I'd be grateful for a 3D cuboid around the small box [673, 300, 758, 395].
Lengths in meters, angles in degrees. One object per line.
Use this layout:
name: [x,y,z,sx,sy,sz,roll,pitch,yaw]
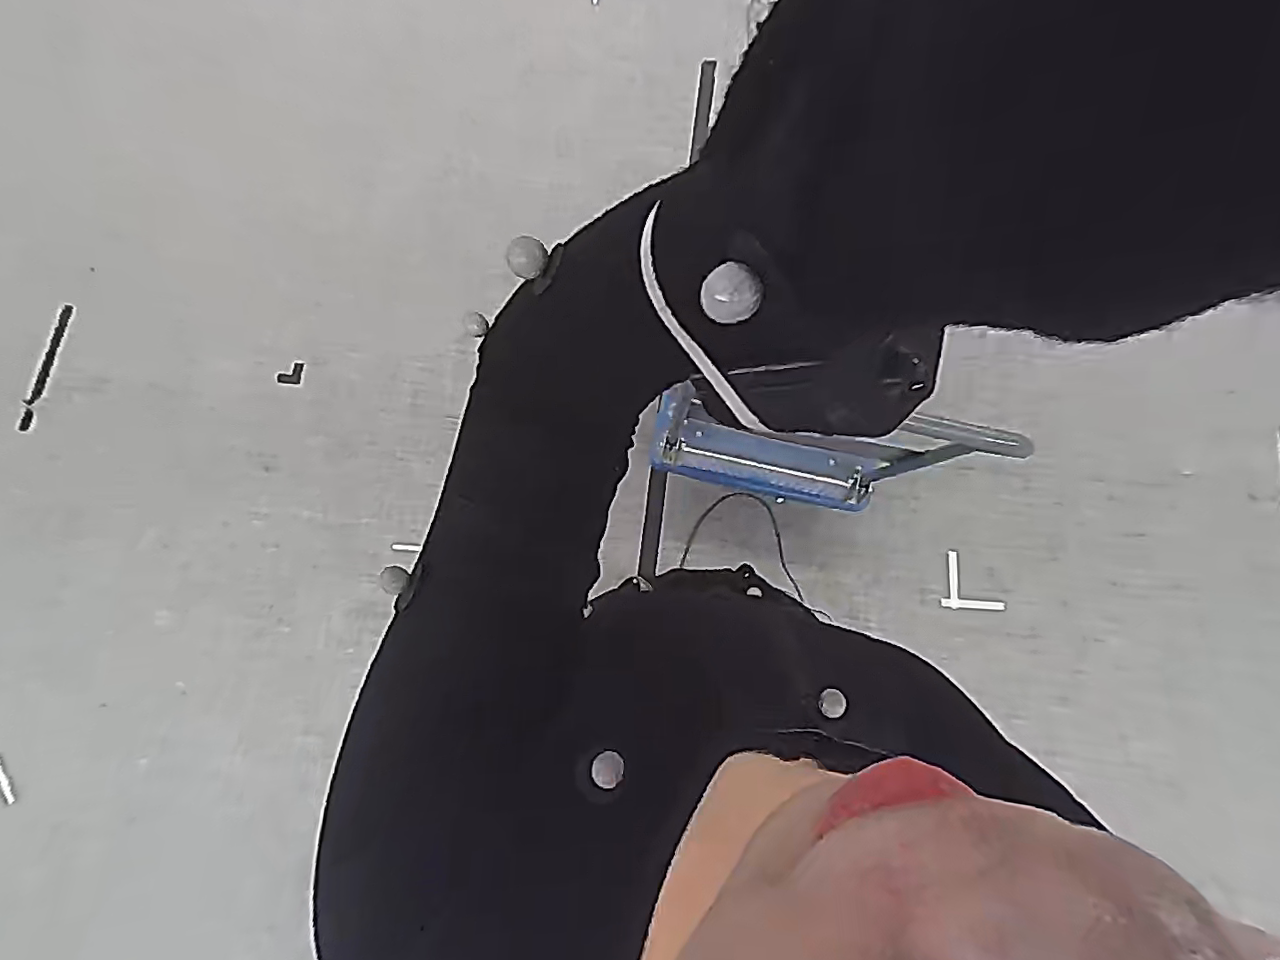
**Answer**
small box: [0.182,-0.326,1.359,0.179,0.176,0.168,10,80,1]
